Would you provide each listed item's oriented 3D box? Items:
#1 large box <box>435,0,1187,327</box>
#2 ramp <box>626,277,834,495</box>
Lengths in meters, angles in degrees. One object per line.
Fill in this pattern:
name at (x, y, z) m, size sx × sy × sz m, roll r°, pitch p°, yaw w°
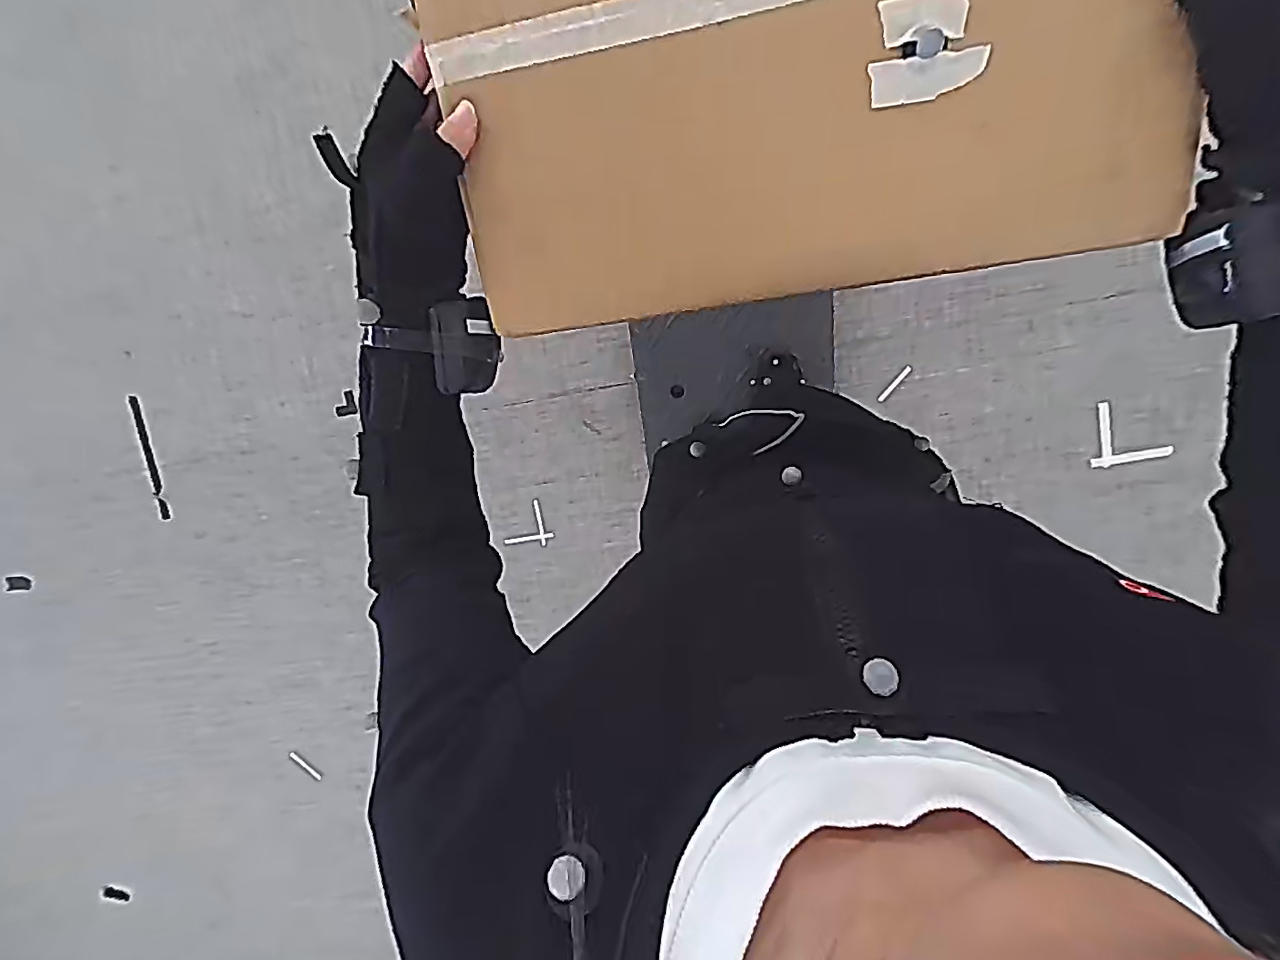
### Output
large box at (0.095, -0.321, 0.434) m, size 0.408 × 0.320 × 0.320 m, roll -7°, pitch 110°, yaw 9°
ramp at (0.205, -0.442, 1.298) m, size 0.509 × 0.206 × 0.991 m, roll -7°, pitch 100°, yaw 9°
